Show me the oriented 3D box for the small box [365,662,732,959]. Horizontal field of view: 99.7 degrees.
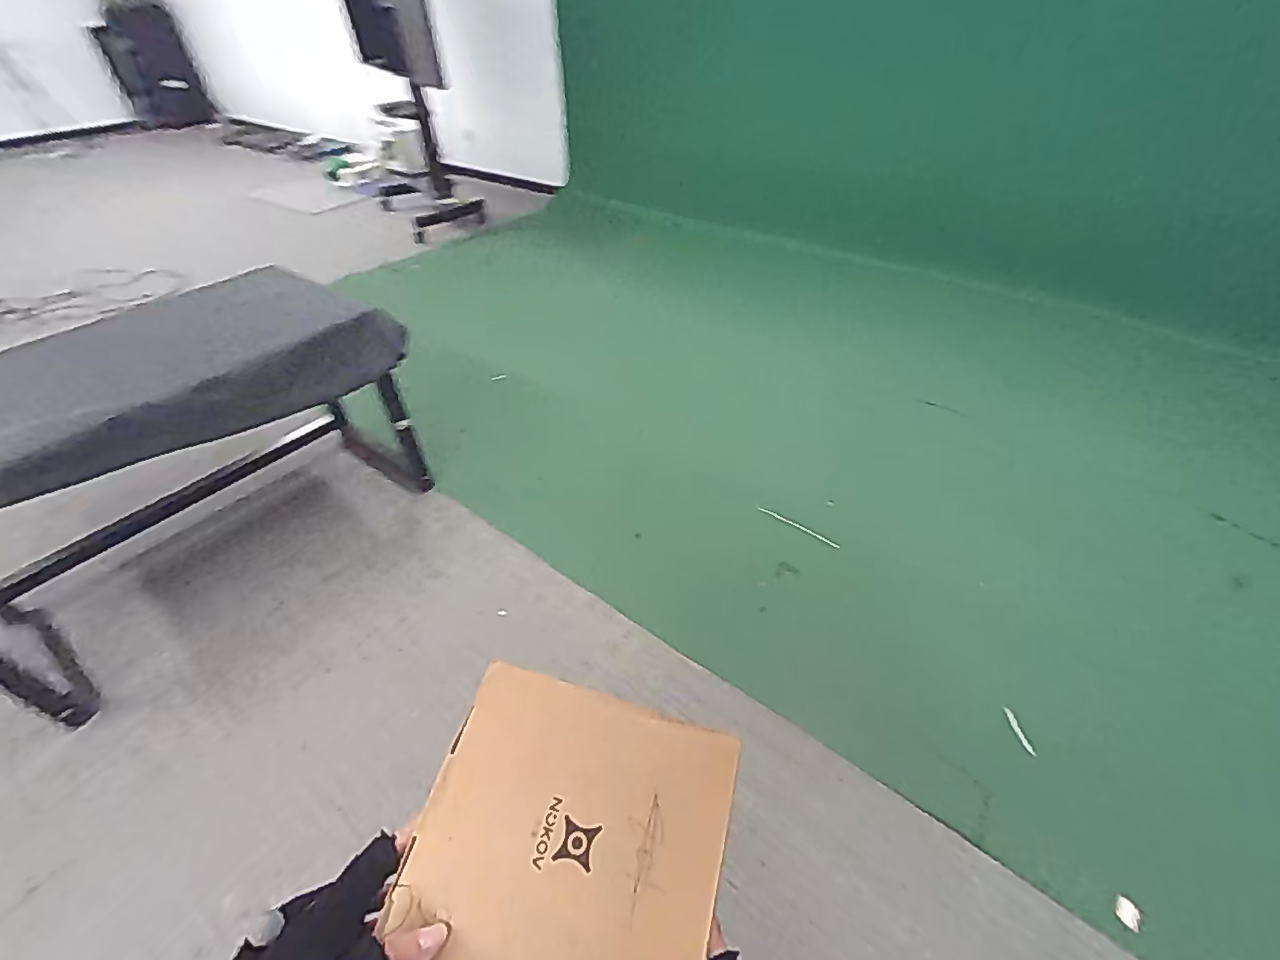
[{"bbox_3d":[-0.047,0.251,0.382,0.179,0.176,0.168,13,57,4],"label":"small box"}]
